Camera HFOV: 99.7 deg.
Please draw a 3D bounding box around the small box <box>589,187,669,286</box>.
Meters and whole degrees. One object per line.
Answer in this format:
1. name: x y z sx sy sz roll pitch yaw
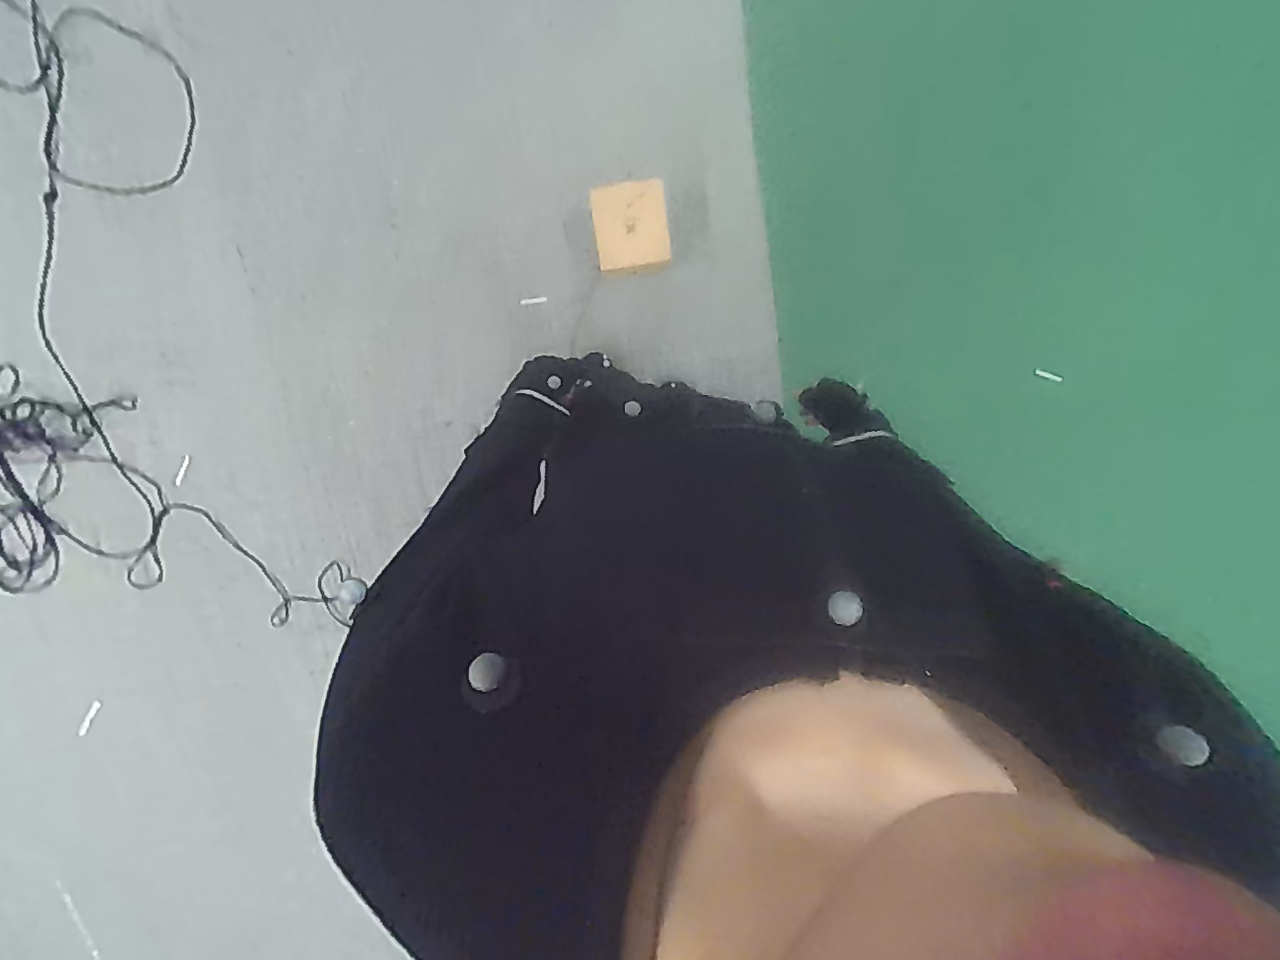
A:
1. small box: -0.022 -0.567 1.287 0.168 0.176 0.179 -8 100 2
